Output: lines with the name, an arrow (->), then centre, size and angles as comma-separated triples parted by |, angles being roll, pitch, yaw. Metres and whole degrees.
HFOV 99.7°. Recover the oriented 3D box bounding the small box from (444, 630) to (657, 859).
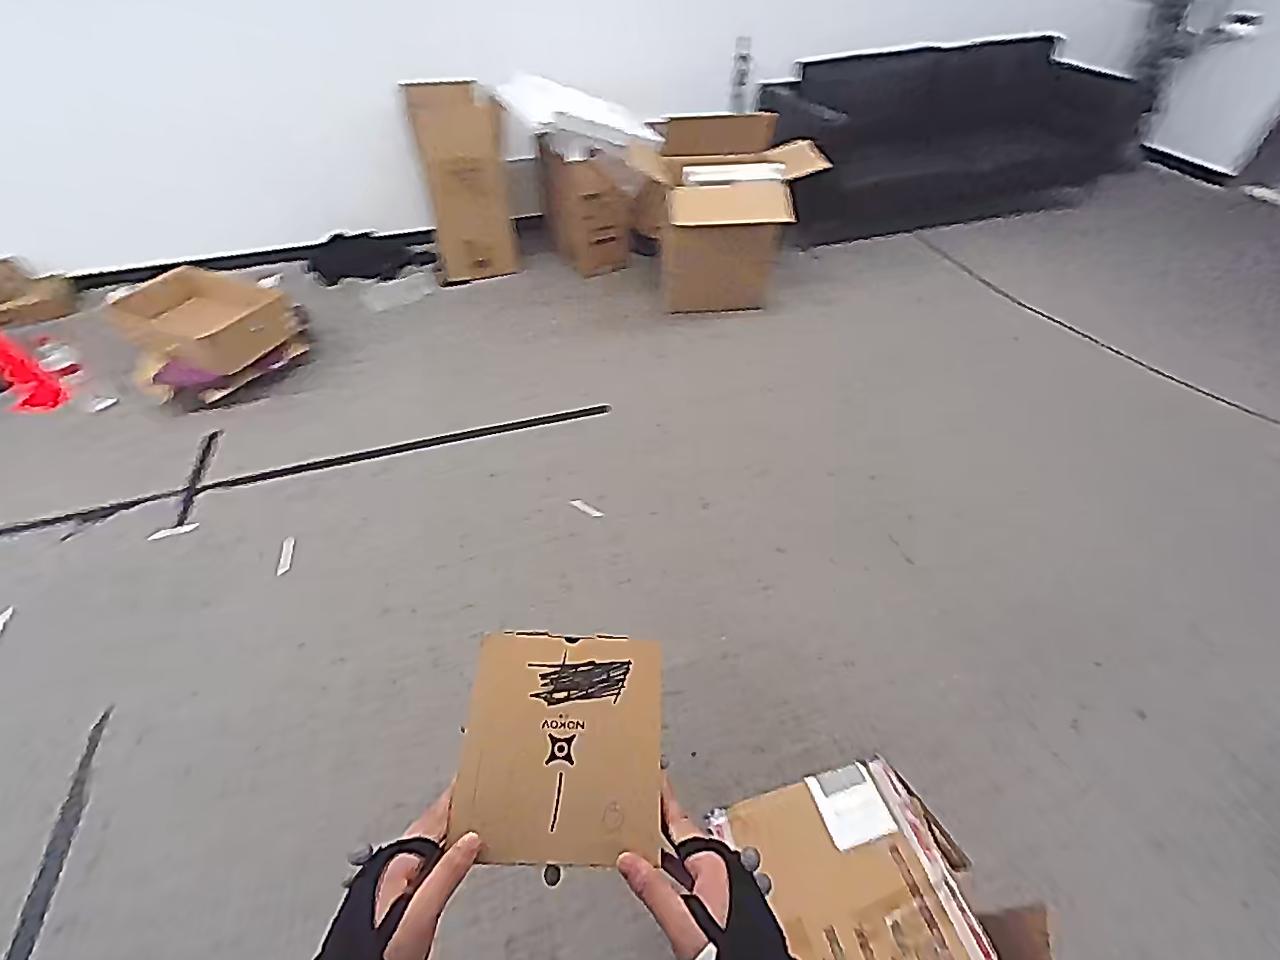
small box -> -0.074, 0.259, 0.524 | 0.168, 0.176, 0.179 | 2, 56, -3
